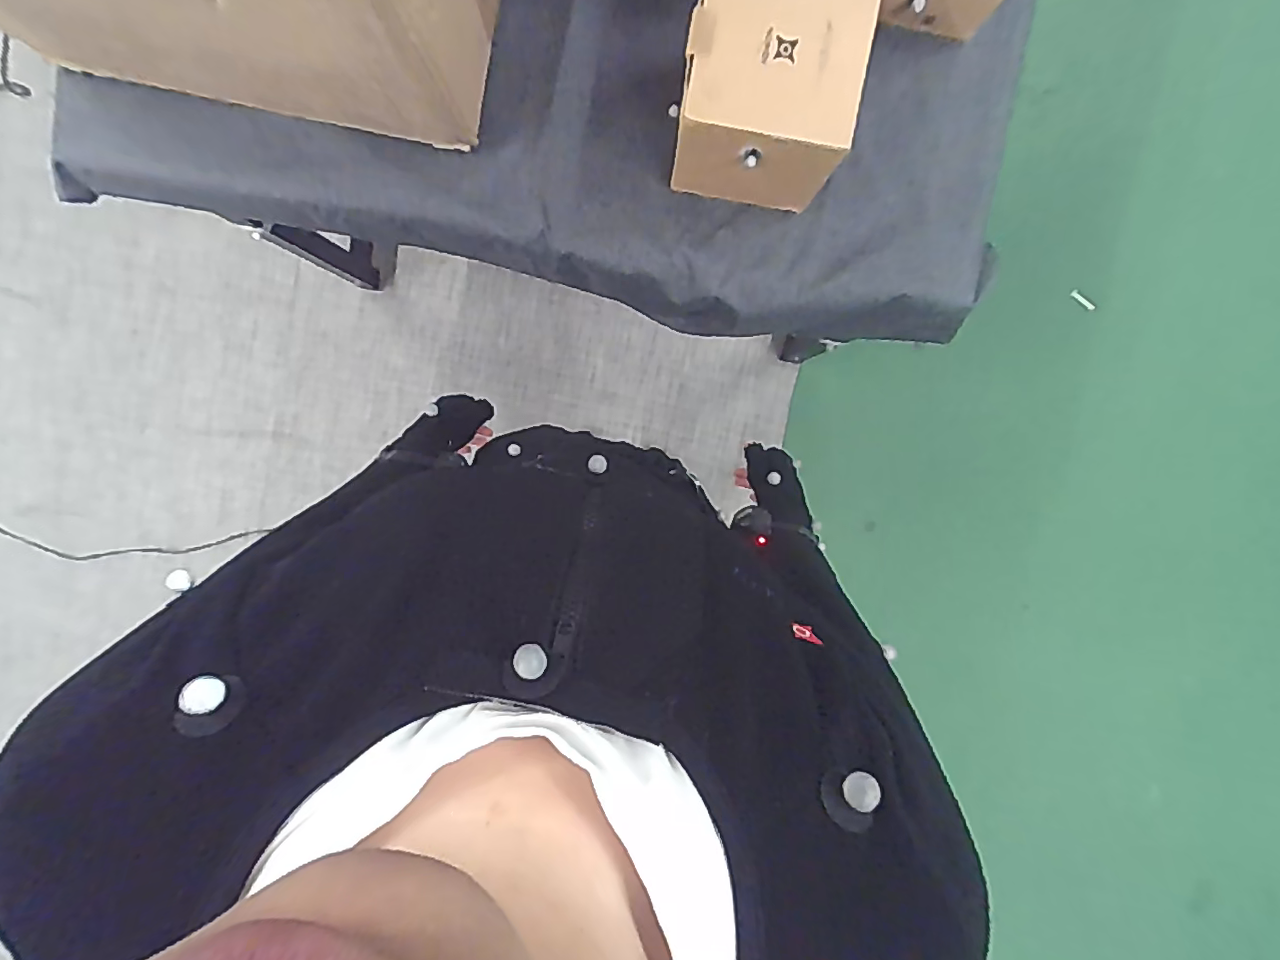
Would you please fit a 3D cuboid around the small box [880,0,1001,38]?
[{"bbox_3d":[0.359,-0.652,0.597,0.168,0.176,0.179,12,96,-1],"label":"small box"}]

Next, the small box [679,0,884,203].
[{"bbox_3d":[0.146,-0.442,0.618,0.179,0.176,0.168,10,96,-2],"label":"small box"}]
